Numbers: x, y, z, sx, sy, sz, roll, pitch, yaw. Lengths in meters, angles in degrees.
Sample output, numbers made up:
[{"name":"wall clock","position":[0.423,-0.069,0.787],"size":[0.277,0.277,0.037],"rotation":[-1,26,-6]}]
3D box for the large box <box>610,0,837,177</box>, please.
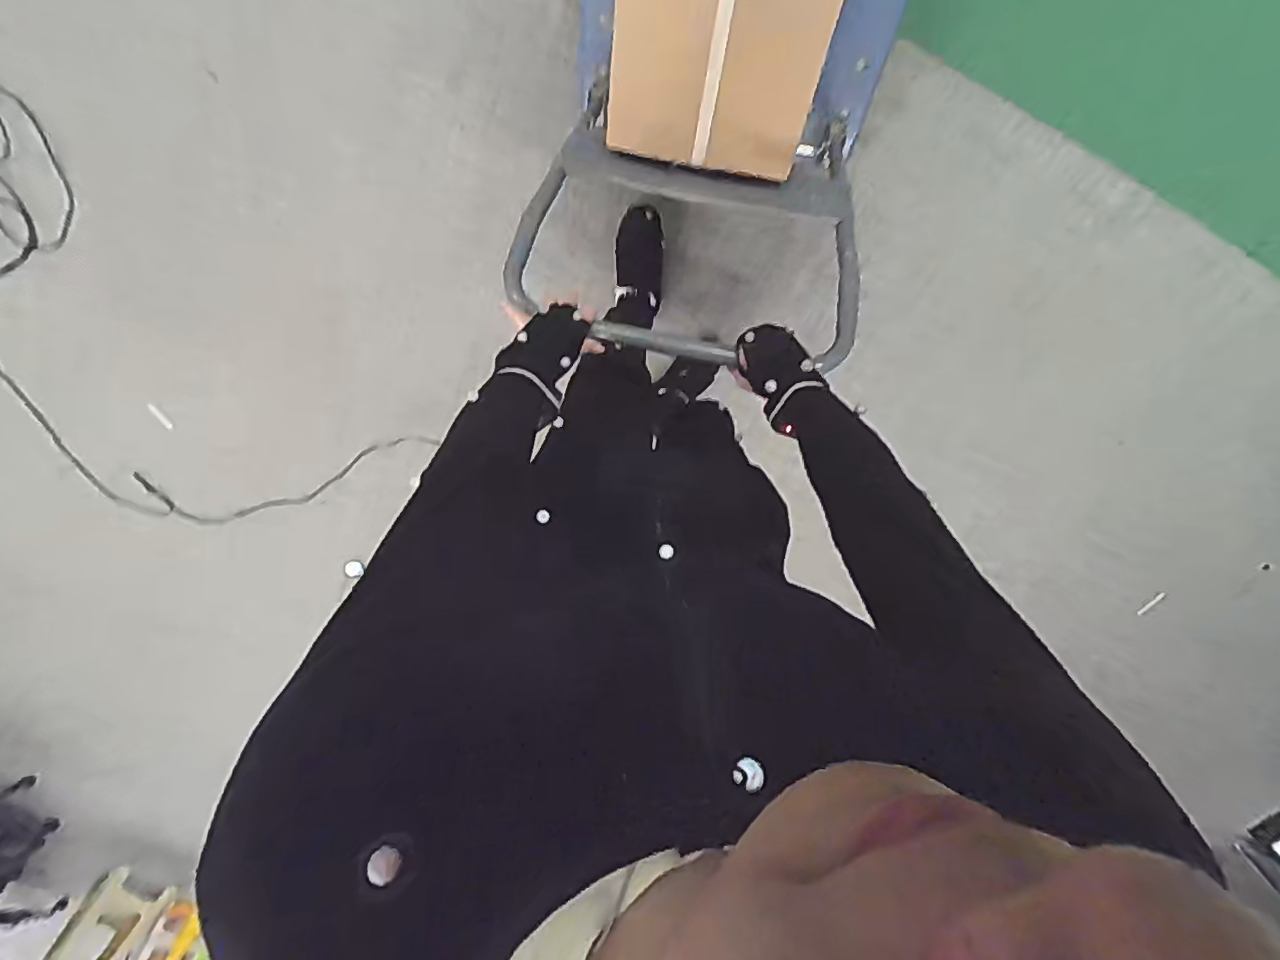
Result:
[{"name":"large box","position":[0.144,-0.777,0.872],"size":[0.320,0.320,0.408],"rotation":[12,139,2]}]
